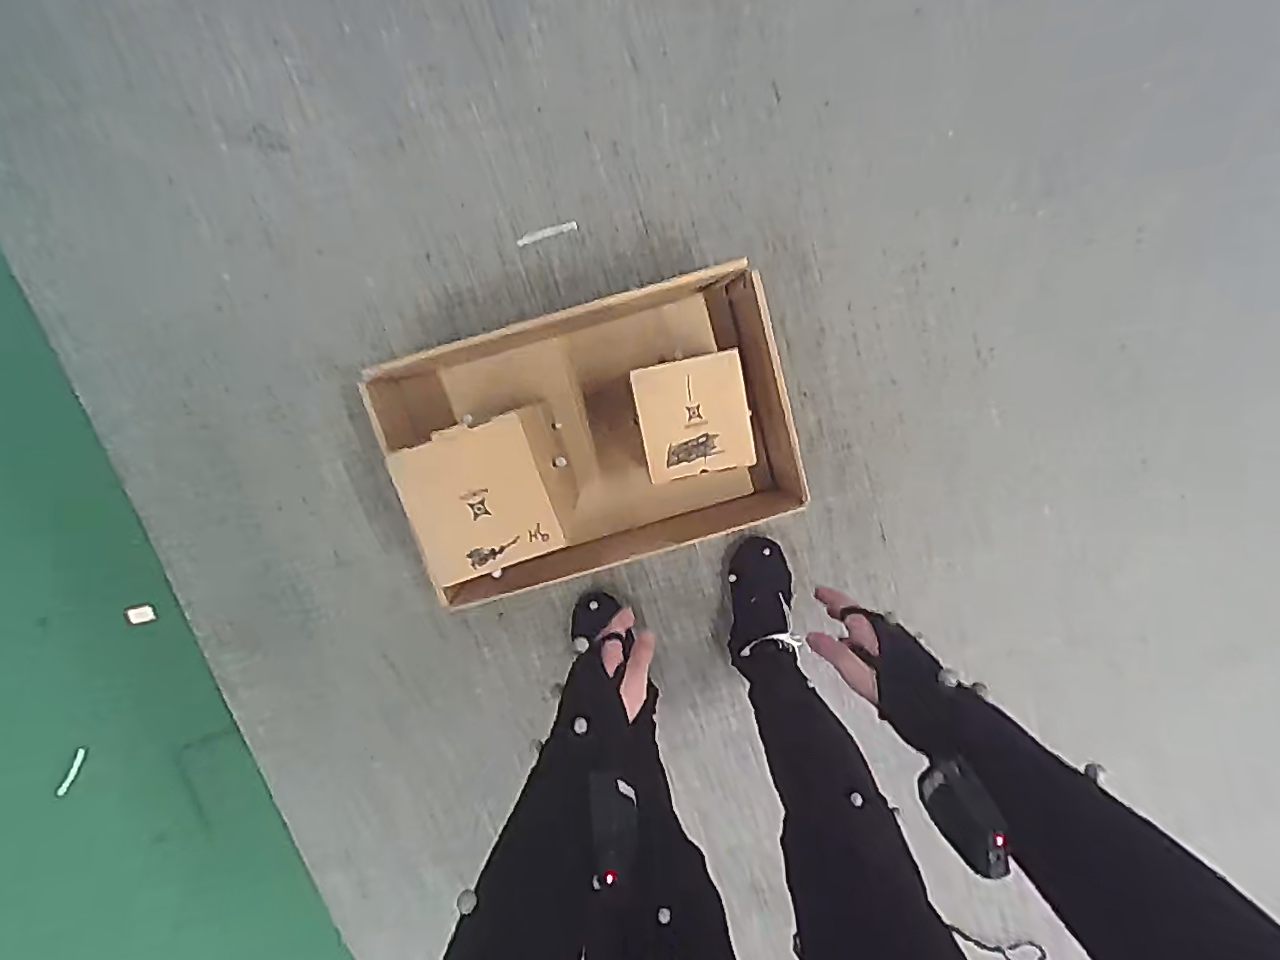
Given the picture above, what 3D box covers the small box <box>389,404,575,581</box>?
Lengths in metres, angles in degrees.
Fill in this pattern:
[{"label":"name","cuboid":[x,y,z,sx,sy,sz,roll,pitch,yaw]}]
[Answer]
[{"label":"small box","cuboid":[-0.192,0.005,0.713,0.168,0.176,0.179,-18,100,1]}]
